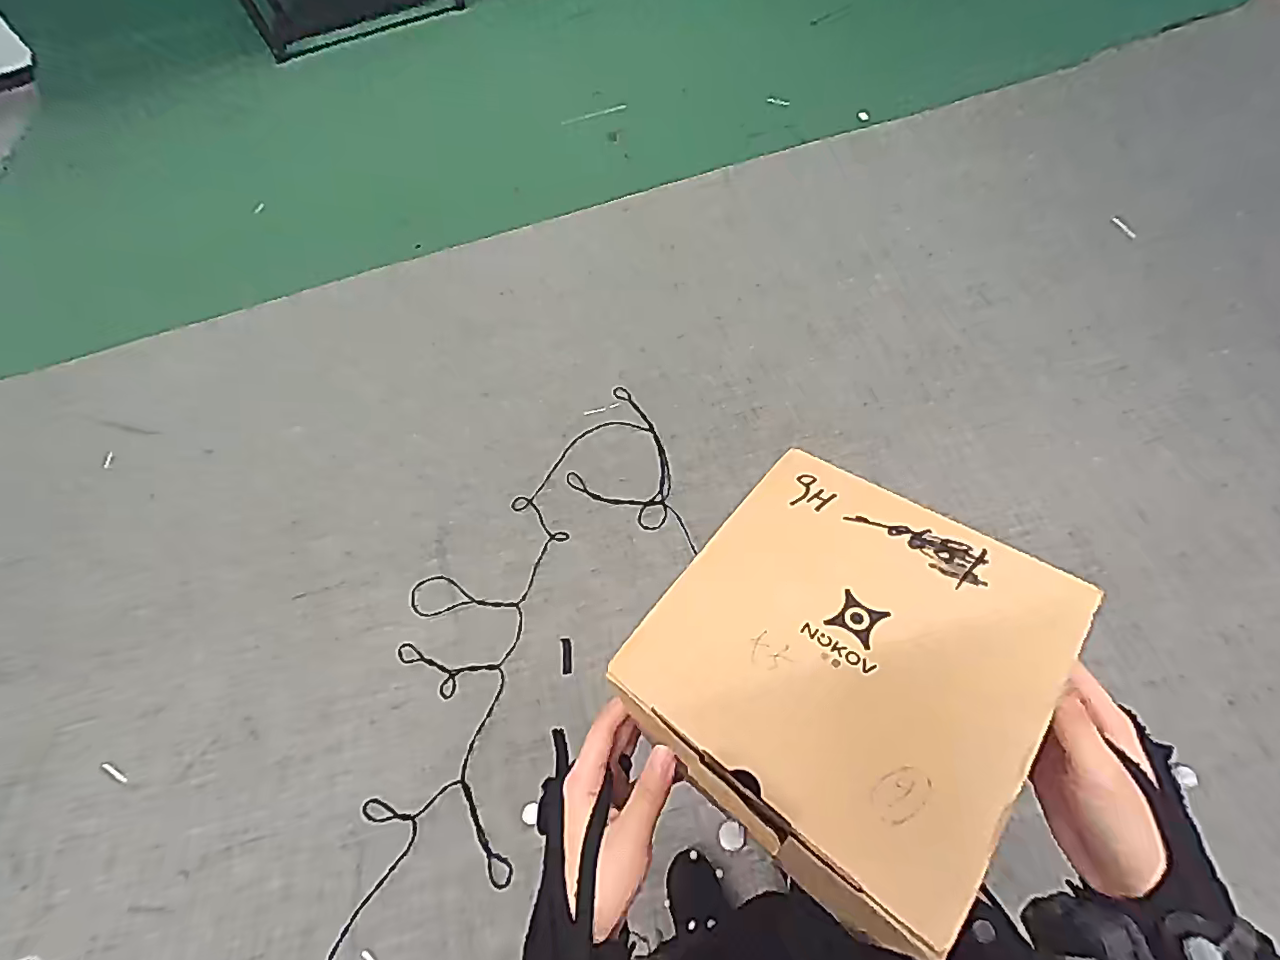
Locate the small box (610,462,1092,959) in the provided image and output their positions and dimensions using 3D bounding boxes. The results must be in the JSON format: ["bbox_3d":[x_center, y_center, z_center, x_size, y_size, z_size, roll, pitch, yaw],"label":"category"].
[{"bbox_3d":[0.112,0.129,0.325,0.168,0.176,0.179,31,65,30],"label":"small box"}]
